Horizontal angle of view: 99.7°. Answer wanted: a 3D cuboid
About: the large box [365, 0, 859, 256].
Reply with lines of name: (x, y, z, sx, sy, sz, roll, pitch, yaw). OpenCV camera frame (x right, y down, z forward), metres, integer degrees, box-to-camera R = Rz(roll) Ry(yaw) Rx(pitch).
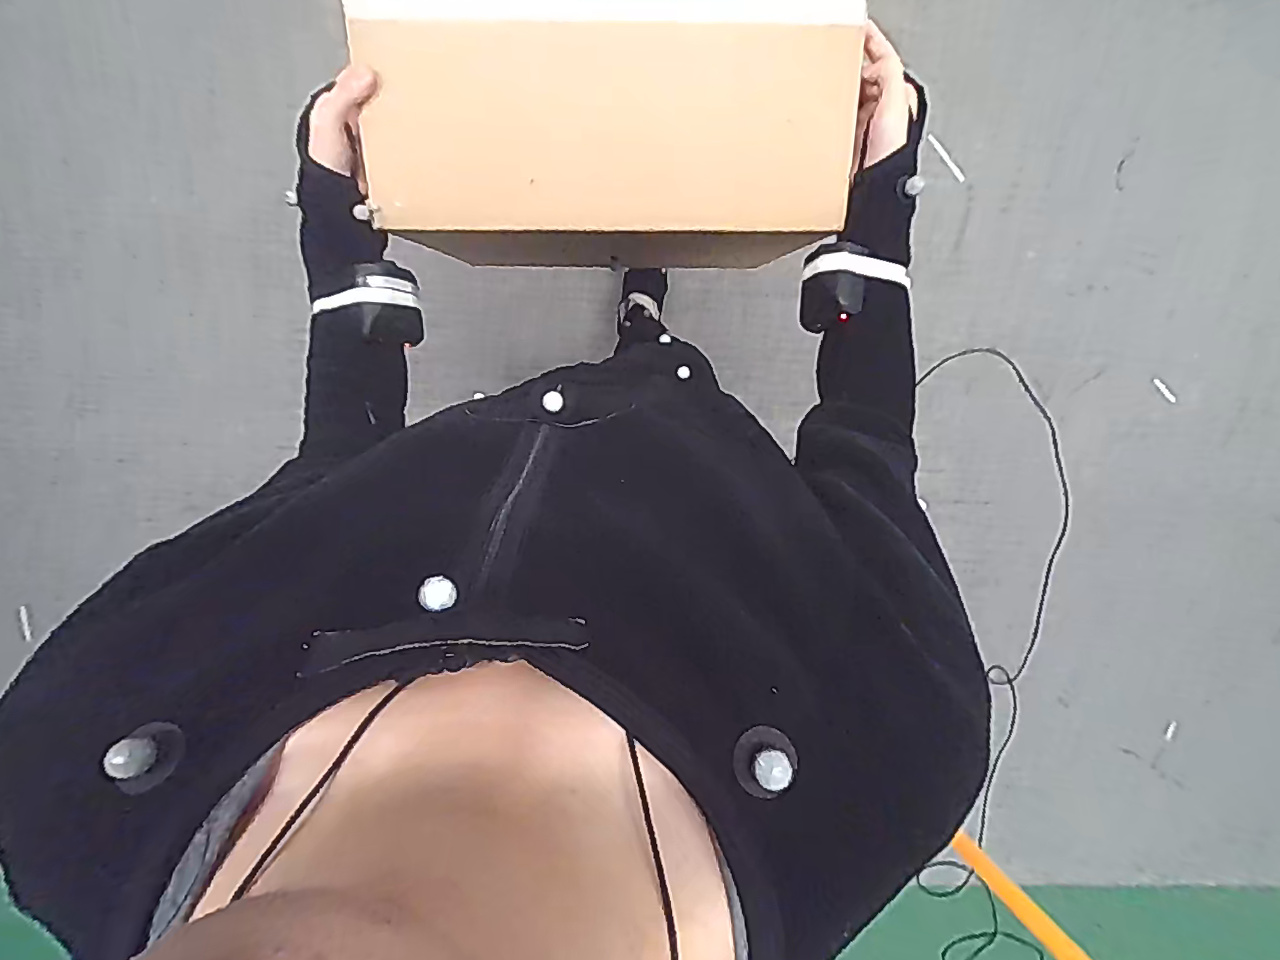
large box: (-0.023, -0.419, 0.576, 0.408, 0.320, 0.320, -1, 106, -1)
